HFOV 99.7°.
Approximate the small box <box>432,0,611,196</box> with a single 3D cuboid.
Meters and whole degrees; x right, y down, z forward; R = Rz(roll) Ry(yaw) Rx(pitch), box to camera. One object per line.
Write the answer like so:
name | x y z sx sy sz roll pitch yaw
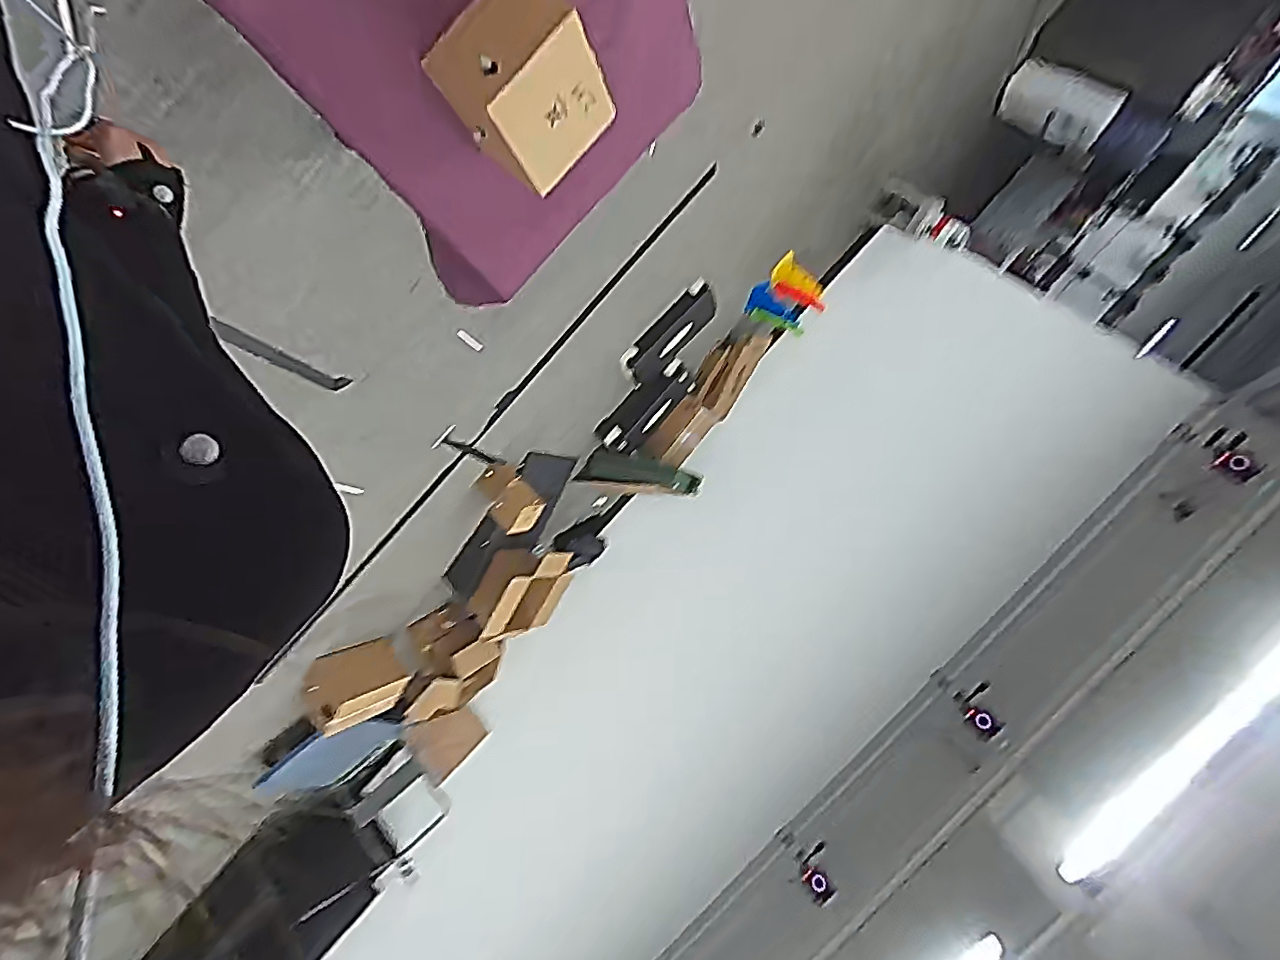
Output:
small box | -0.180 -0.581 0.810 0.179 0.176 0.168 -47 159 2
